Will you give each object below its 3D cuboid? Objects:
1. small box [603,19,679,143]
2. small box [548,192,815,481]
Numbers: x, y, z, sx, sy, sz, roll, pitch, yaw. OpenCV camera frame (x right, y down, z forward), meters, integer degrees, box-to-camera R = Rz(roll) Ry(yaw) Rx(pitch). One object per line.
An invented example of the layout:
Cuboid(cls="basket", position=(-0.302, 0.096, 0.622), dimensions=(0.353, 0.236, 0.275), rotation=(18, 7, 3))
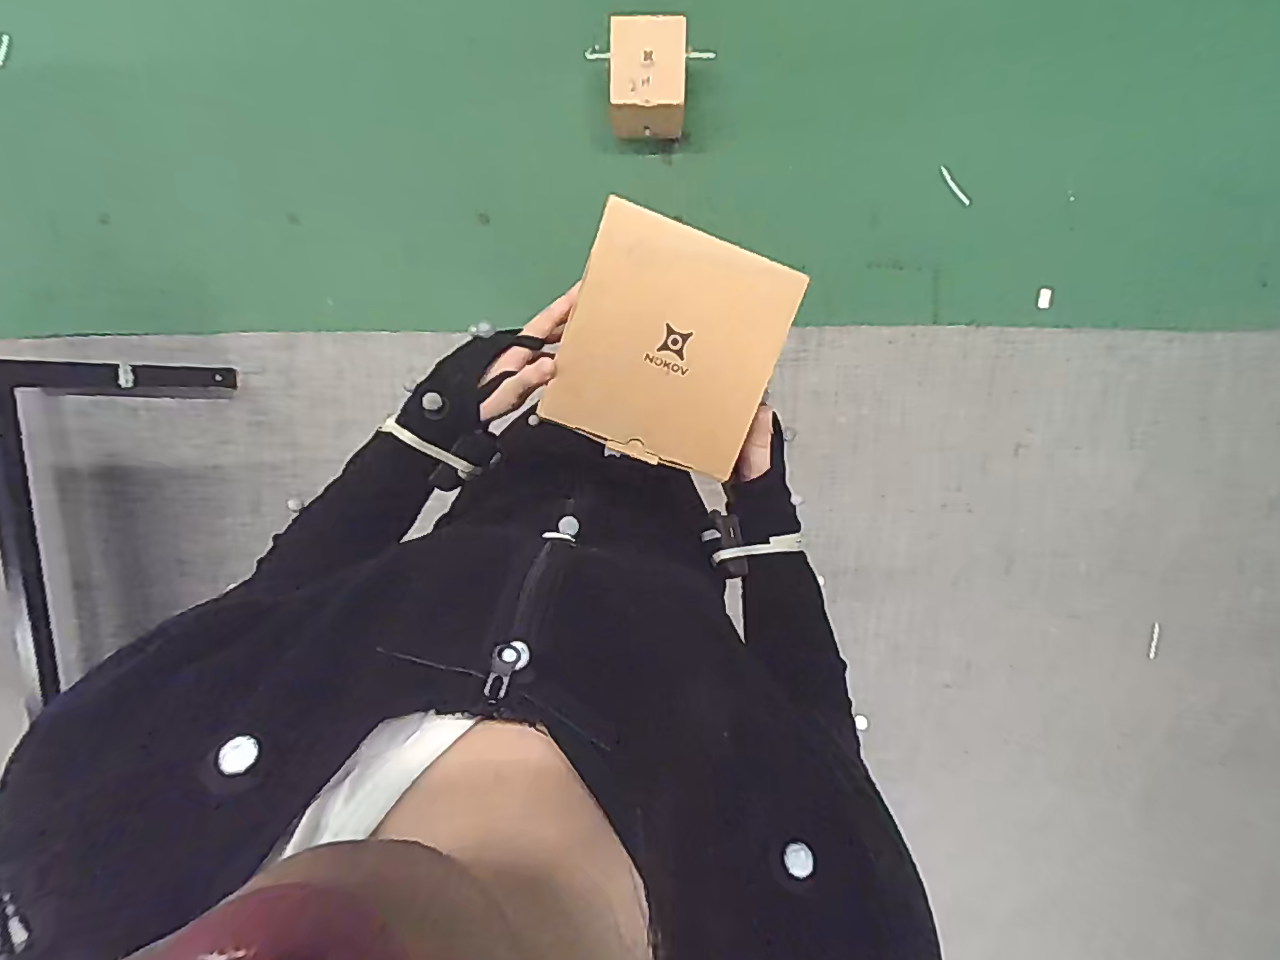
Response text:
Cuboid(cls="small box", position=(0.000, -0.915, 1.252), dimensions=(0.168, 0.176, 0.179), rotation=(1, 99, 0))
Cuboid(cls="small box", position=(0.024, -0.121, 0.493), dimensions=(0.168, 0.176, 0.179), rotation=(18, 100, -9))
